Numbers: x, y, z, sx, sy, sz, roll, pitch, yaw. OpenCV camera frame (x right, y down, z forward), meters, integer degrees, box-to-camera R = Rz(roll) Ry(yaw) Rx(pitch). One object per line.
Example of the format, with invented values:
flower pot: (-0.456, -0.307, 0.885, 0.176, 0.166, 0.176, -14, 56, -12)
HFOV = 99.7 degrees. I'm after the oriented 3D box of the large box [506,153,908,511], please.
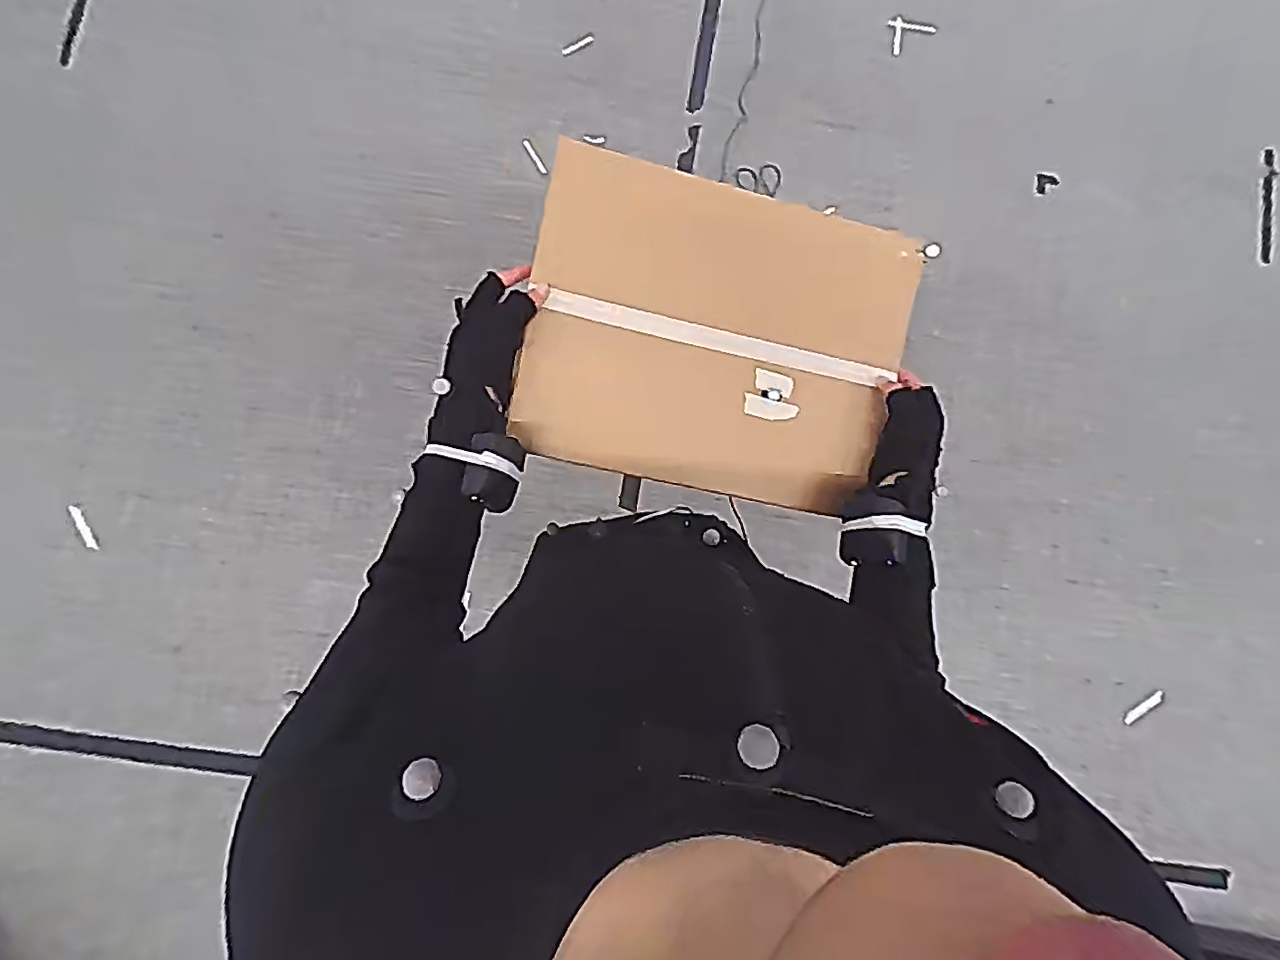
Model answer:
large box: (0.059, -0.160, 0.732, 0.408, 0.320, 0.320, 12, 93, -8)
